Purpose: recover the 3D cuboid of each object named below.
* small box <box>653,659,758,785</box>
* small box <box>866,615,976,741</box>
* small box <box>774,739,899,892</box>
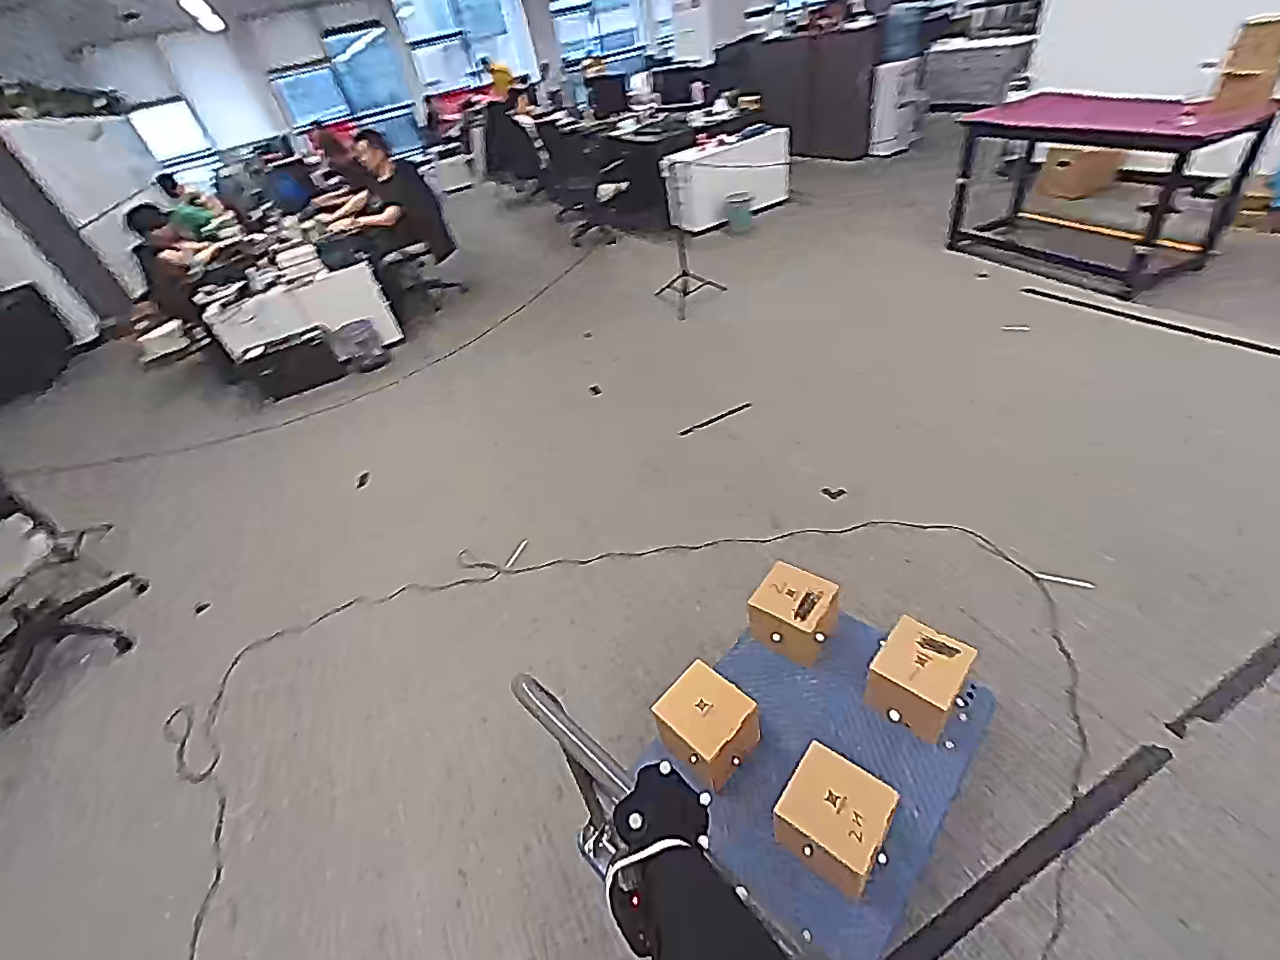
[{"bbox_3d":[0.153,0.559,1.248,0.179,0.176,0.168,29,54,36],"label":"small box"},{"bbox_3d":[0.638,0.454,1.245,0.168,0.176,0.179,26,54,37],"label":"small box"},{"bbox_3d":[0.382,0.662,1.065,0.179,0.176,0.168,23,51,35],"label":"small box"}]
